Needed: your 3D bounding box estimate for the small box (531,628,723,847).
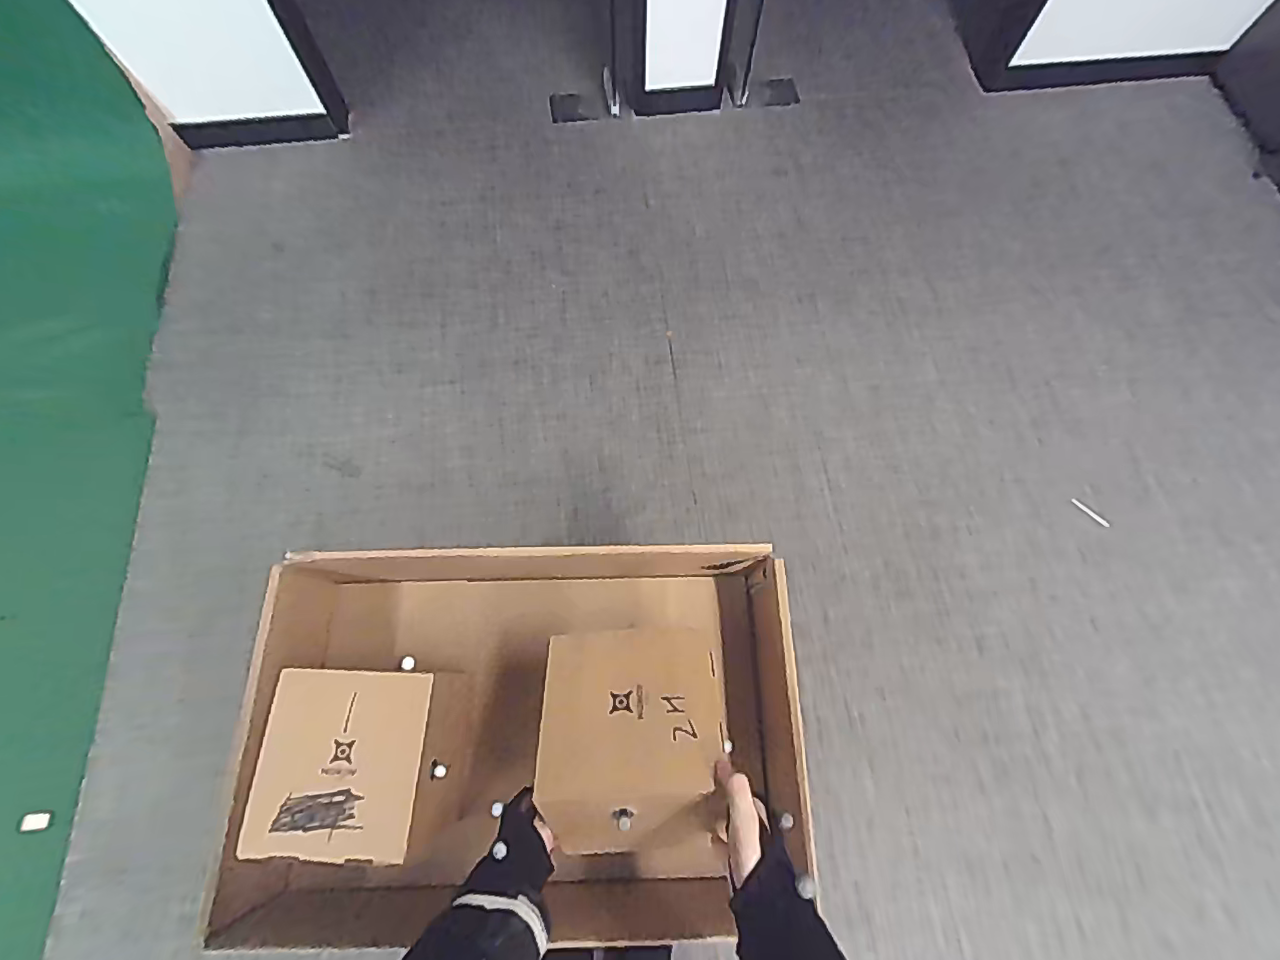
[{"bbox_3d":[-0.005,0.281,0.589,0.179,0.176,0.168,-4,42,2],"label":"small box"}]
